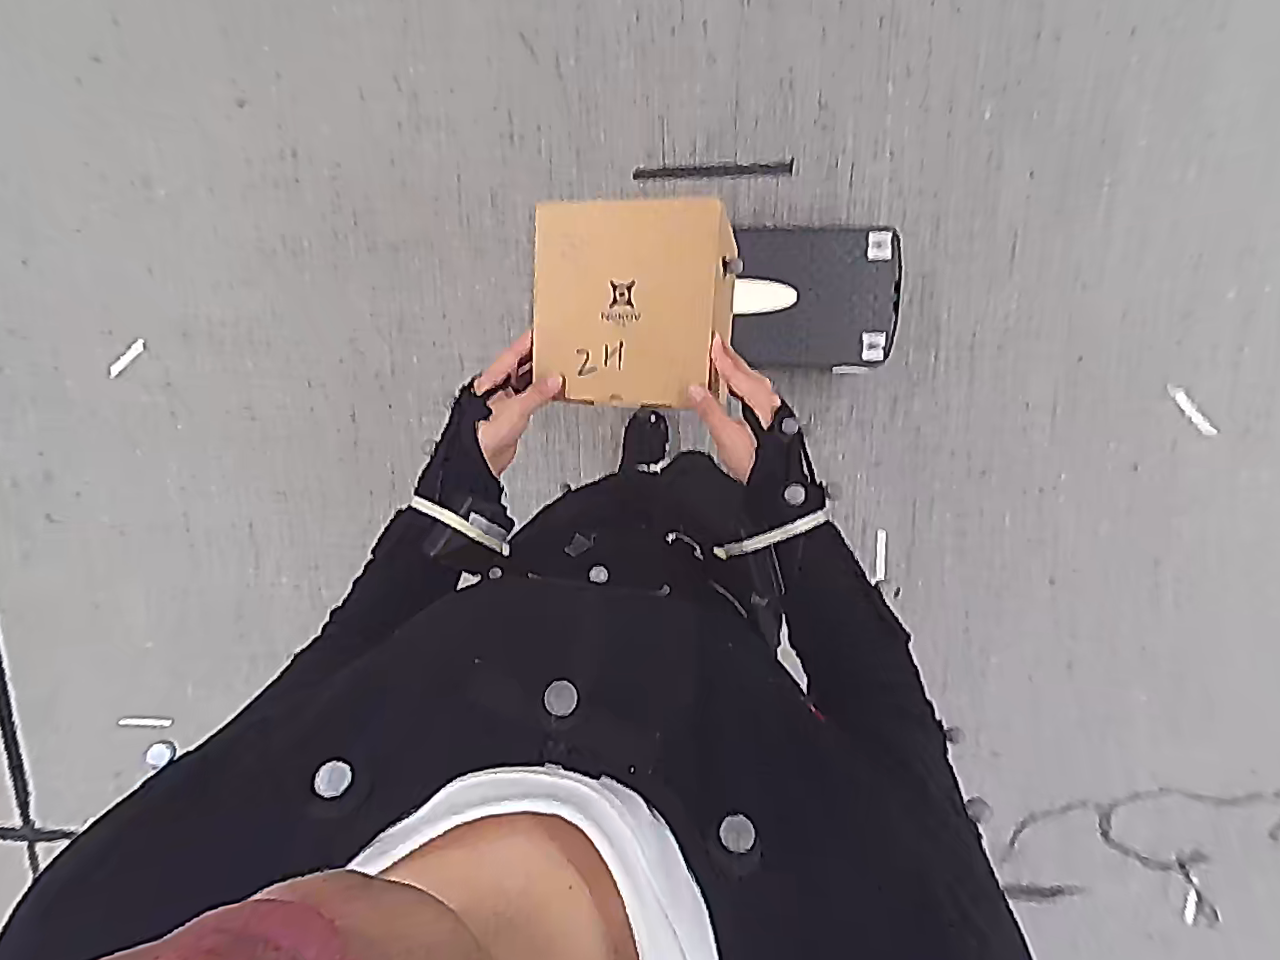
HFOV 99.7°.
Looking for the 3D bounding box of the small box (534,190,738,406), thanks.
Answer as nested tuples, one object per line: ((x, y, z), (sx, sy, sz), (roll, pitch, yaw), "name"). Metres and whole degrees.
((0.006, -0.169, 0.545), (0.168, 0.176, 0.179), (6, 100, 14), "small box")

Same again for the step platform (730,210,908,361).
((0.209, -0.412, 1.179), (0.684, 0.204, 0.286), (1, 99, 3), "step platform")
